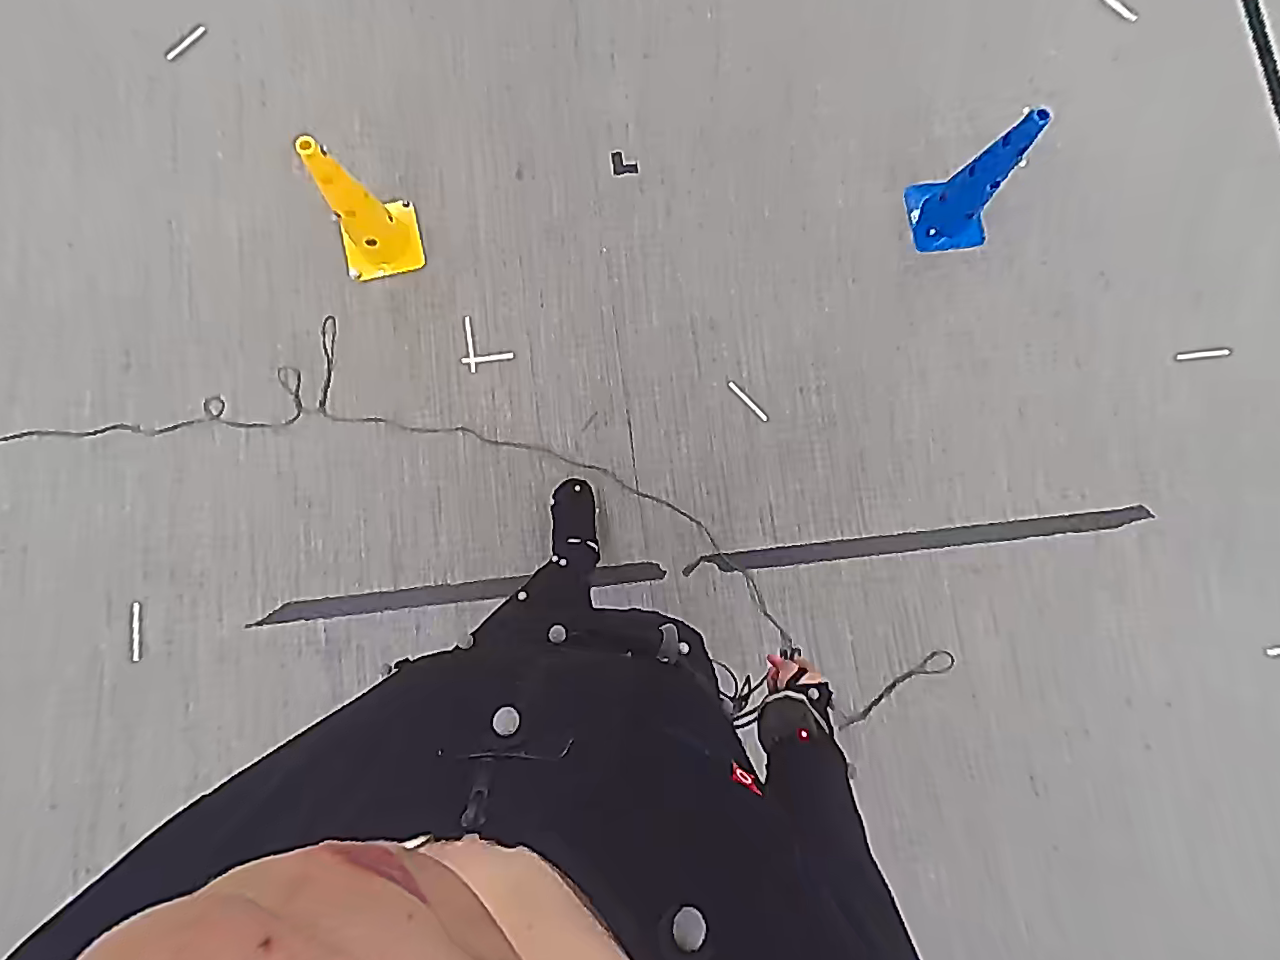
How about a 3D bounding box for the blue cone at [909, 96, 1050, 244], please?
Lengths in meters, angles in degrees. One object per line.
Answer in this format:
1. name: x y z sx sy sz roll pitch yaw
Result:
1. blue cone: 0.851 -0.763 1.327 0.193 0.380 0.192 -6 82 -2
